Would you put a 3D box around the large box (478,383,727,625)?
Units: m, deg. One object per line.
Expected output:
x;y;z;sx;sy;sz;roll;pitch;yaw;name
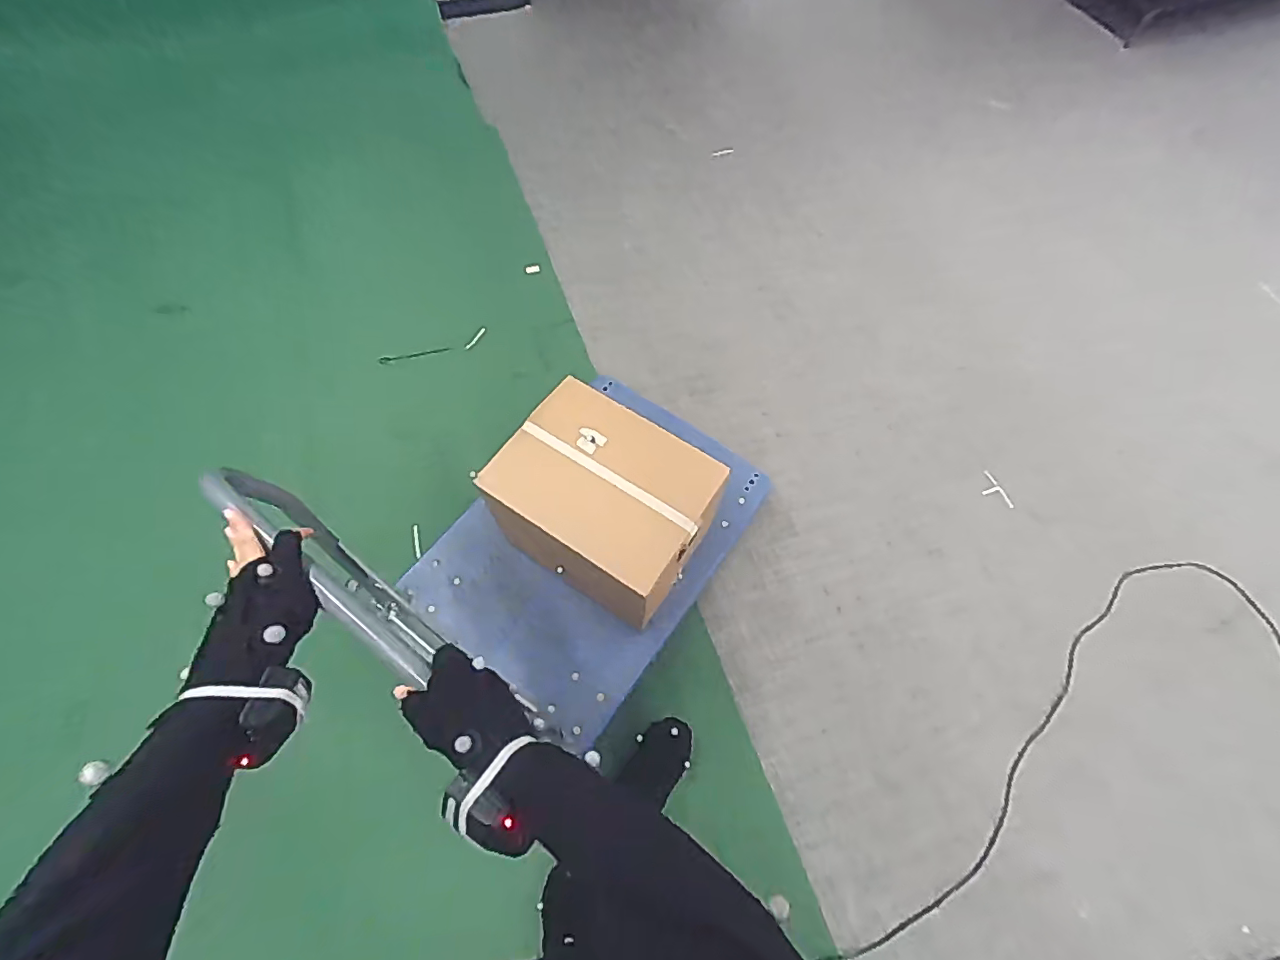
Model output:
-0.072;0.063;1.199;0.408;0.320;0.320;31;66;14;large box
